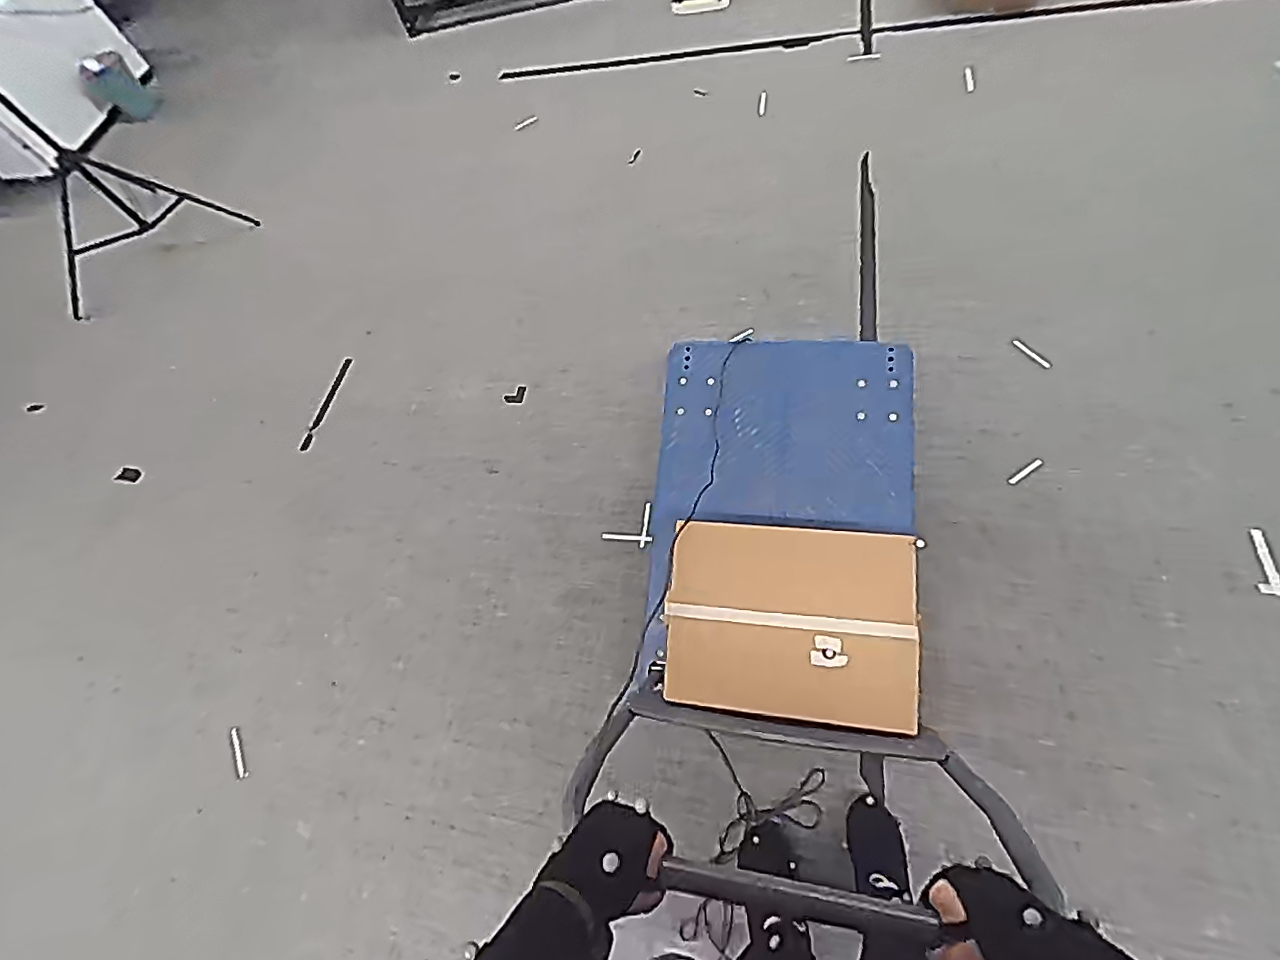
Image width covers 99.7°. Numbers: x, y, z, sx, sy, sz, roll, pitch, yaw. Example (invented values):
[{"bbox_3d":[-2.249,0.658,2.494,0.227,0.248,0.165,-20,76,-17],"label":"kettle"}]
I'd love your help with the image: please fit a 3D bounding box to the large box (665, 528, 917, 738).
[{"bbox_3d":[0.271,0.276,1.044,0.408,0.320,0.320,3,79,11],"label":"large box"}]
